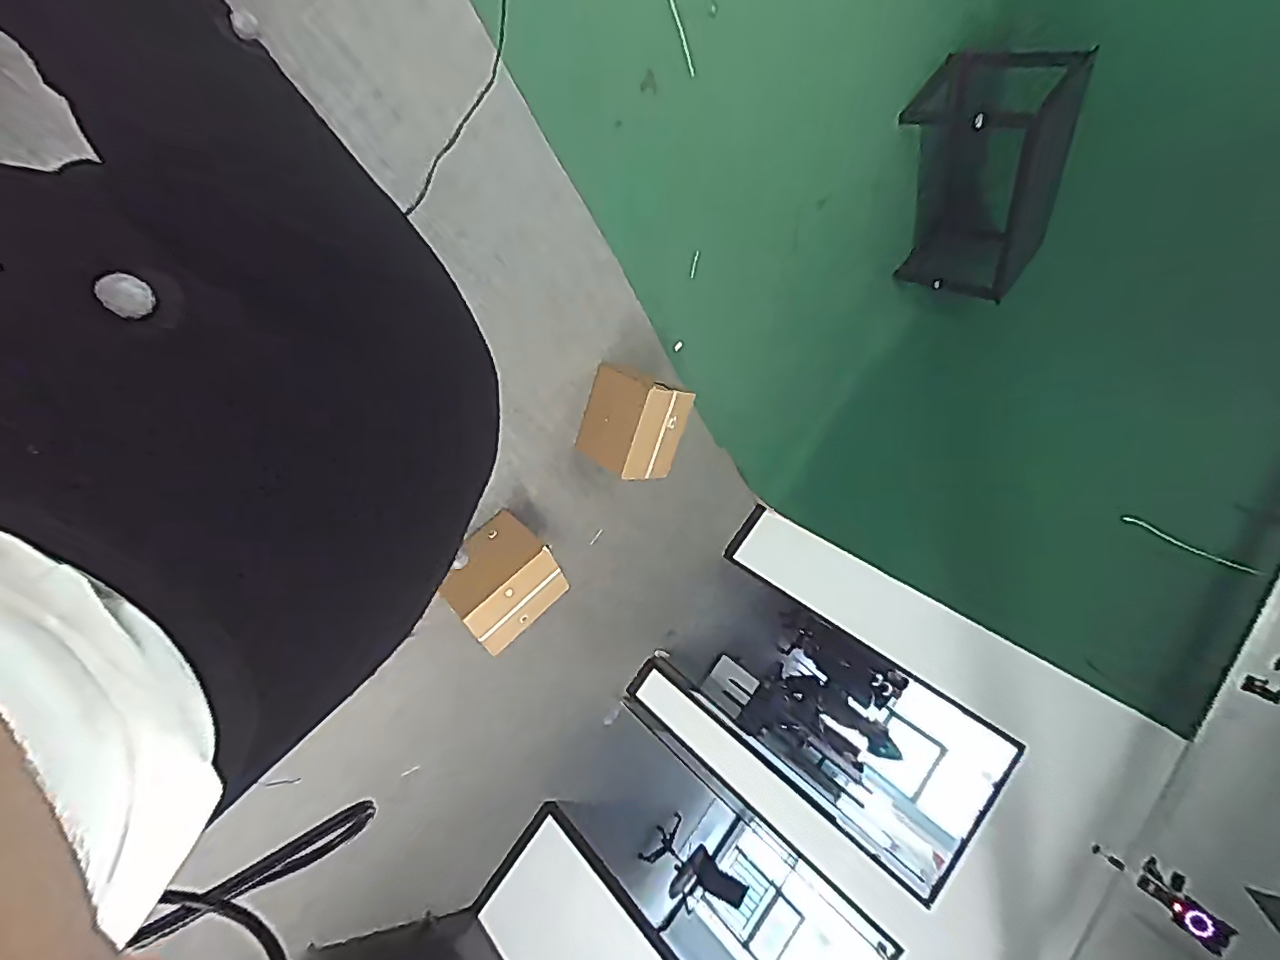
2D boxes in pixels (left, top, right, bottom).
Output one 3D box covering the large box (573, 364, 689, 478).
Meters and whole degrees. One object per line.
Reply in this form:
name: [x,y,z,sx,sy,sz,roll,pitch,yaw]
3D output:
large box: [-0.047,-0.258,2.367,0.320,0.320,0.408,-5,118,-50]
